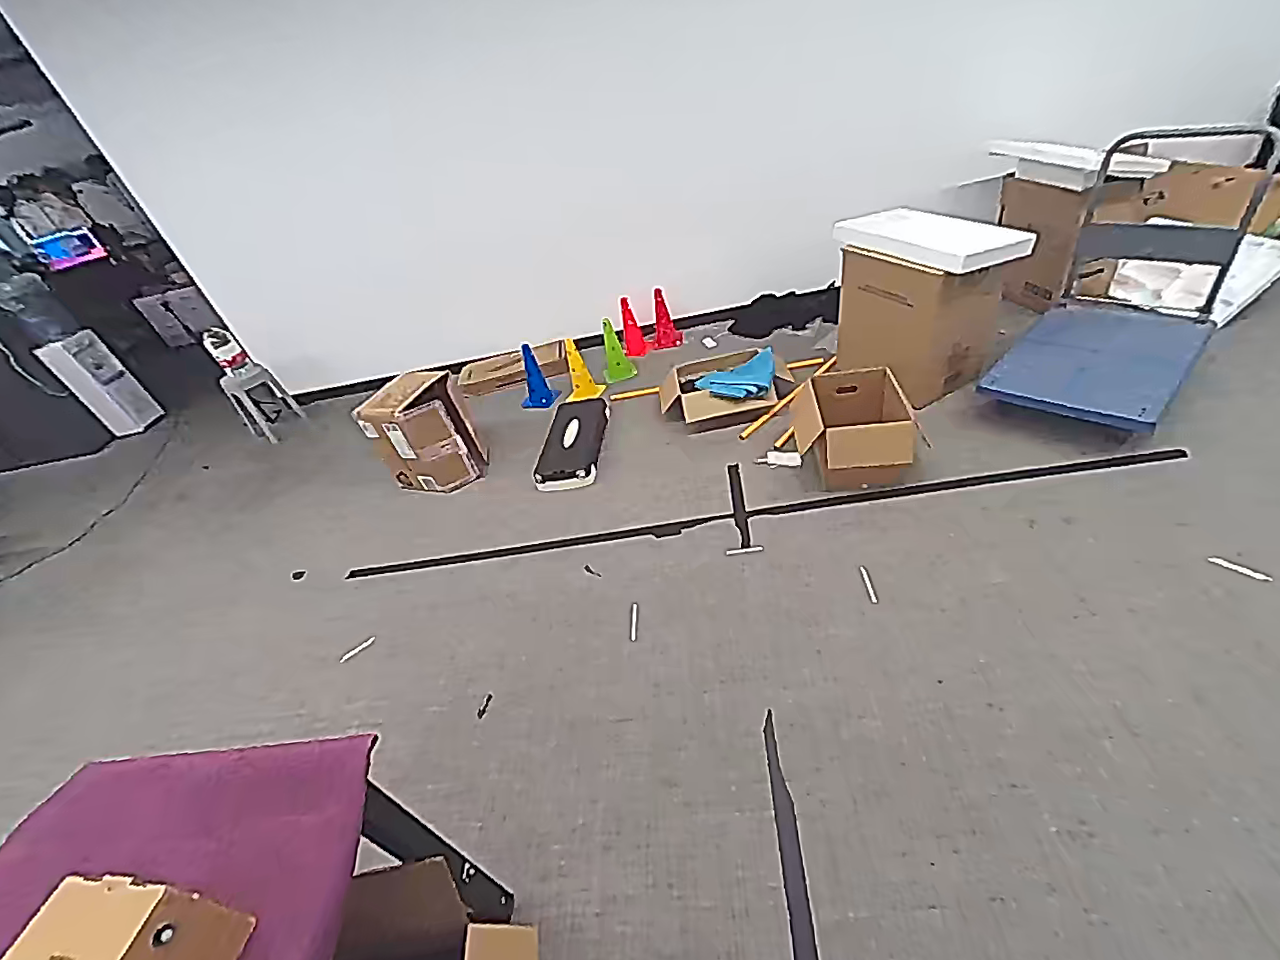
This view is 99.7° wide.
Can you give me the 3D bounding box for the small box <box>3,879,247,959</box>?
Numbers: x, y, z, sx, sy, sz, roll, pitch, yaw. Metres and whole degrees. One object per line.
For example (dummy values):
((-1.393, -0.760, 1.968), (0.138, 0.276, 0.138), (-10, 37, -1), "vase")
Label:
((-0.621, 0.602, 0.632), (0.168, 0.176, 0.179), (-6, 38, 13), "small box")
